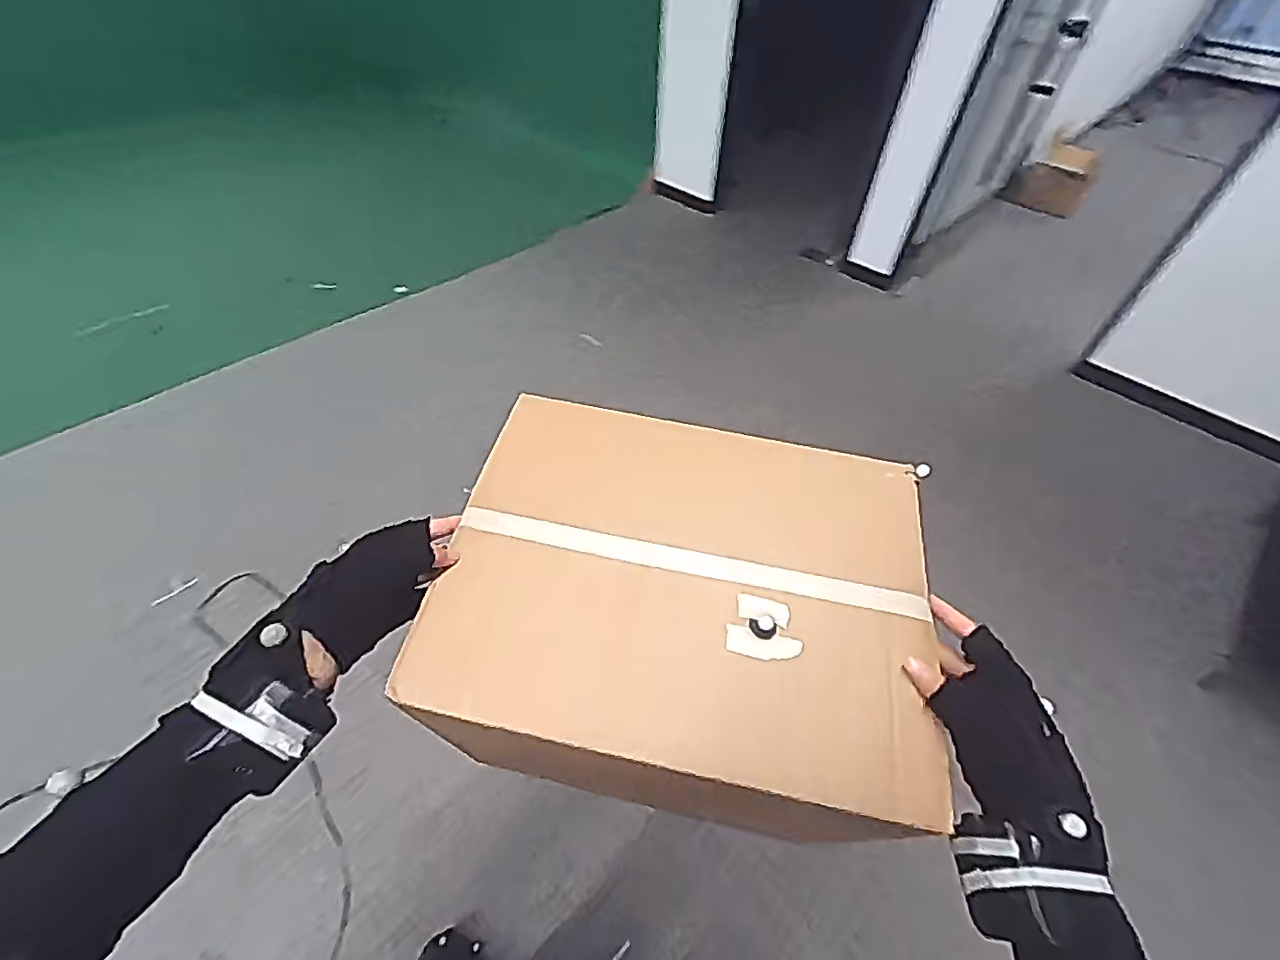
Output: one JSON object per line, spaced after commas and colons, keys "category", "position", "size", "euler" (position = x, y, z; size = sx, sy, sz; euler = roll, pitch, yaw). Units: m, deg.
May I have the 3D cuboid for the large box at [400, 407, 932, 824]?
{"category": "large box", "position": [0.030, 0.158, 0.599], "size": [0.408, 0.320, 0.320], "euler": [10, 56, 4]}
